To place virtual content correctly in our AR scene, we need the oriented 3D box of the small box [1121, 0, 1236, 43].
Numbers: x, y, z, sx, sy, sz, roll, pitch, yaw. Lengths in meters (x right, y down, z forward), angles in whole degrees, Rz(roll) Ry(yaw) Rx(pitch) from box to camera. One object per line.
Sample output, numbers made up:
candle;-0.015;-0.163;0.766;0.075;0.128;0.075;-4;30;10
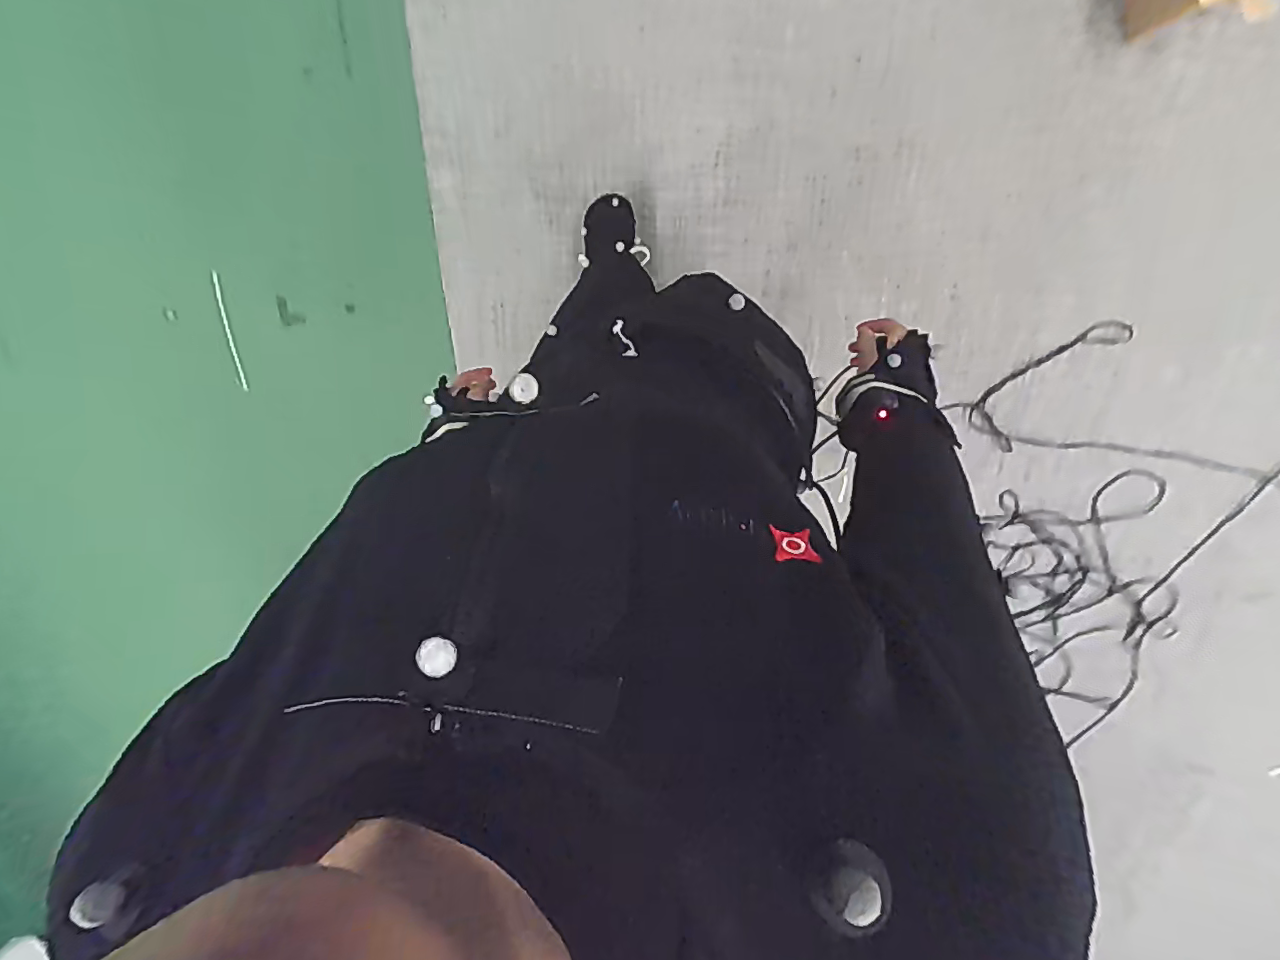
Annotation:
small box;0.875;-0.824;0.823;0.168;0.176;0.179;-15;110;17
